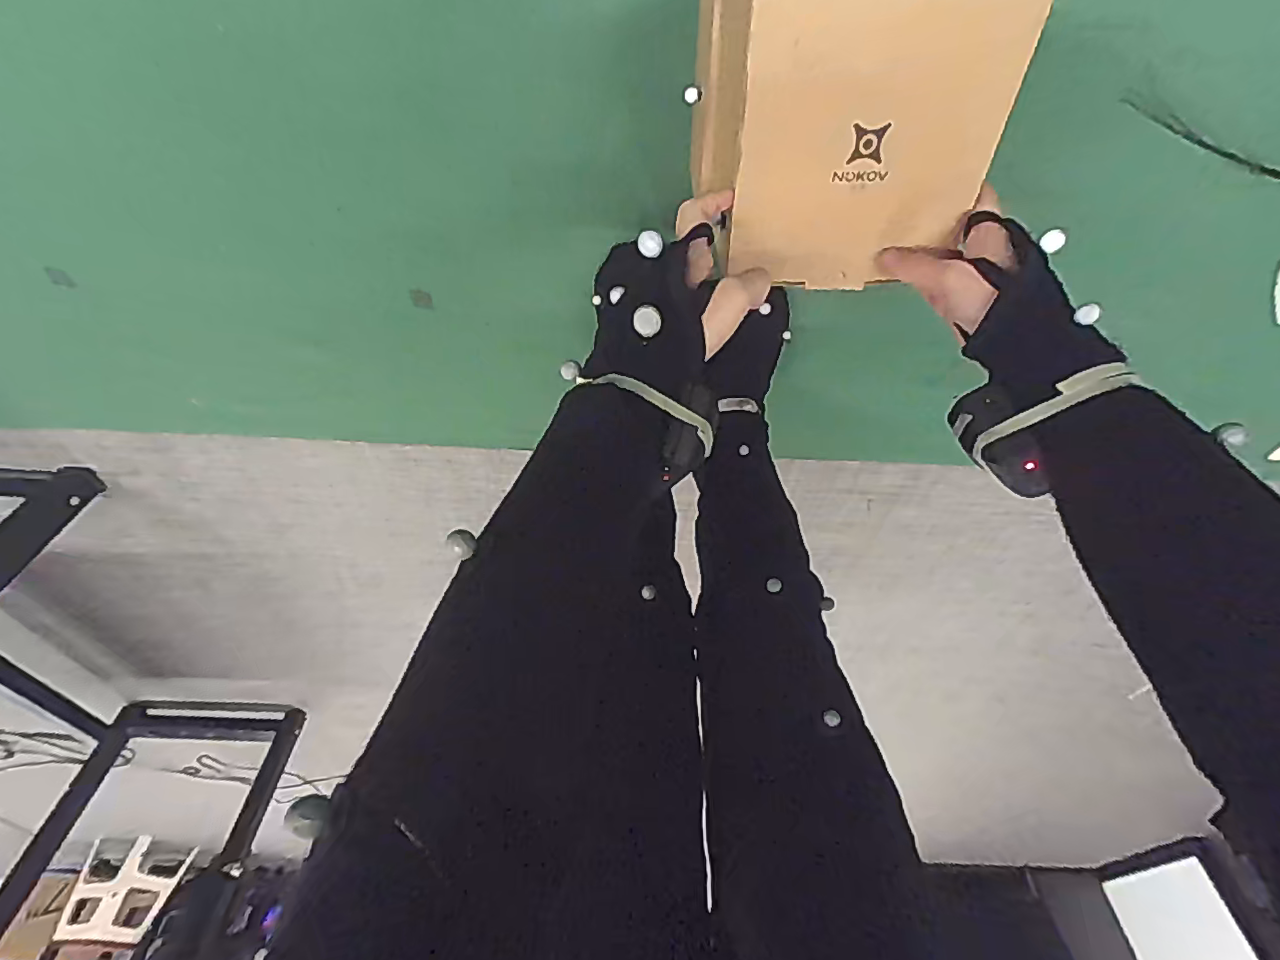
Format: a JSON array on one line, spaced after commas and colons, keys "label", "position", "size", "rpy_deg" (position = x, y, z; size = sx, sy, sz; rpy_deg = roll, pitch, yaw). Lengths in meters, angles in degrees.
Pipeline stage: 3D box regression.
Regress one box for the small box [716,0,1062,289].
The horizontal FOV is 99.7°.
[{"label": "small box", "position": [0.149, -0.262, 0.402], "size": [0.168, 0.176, 0.179], "rpy_deg": [0, 134, 2]}]
